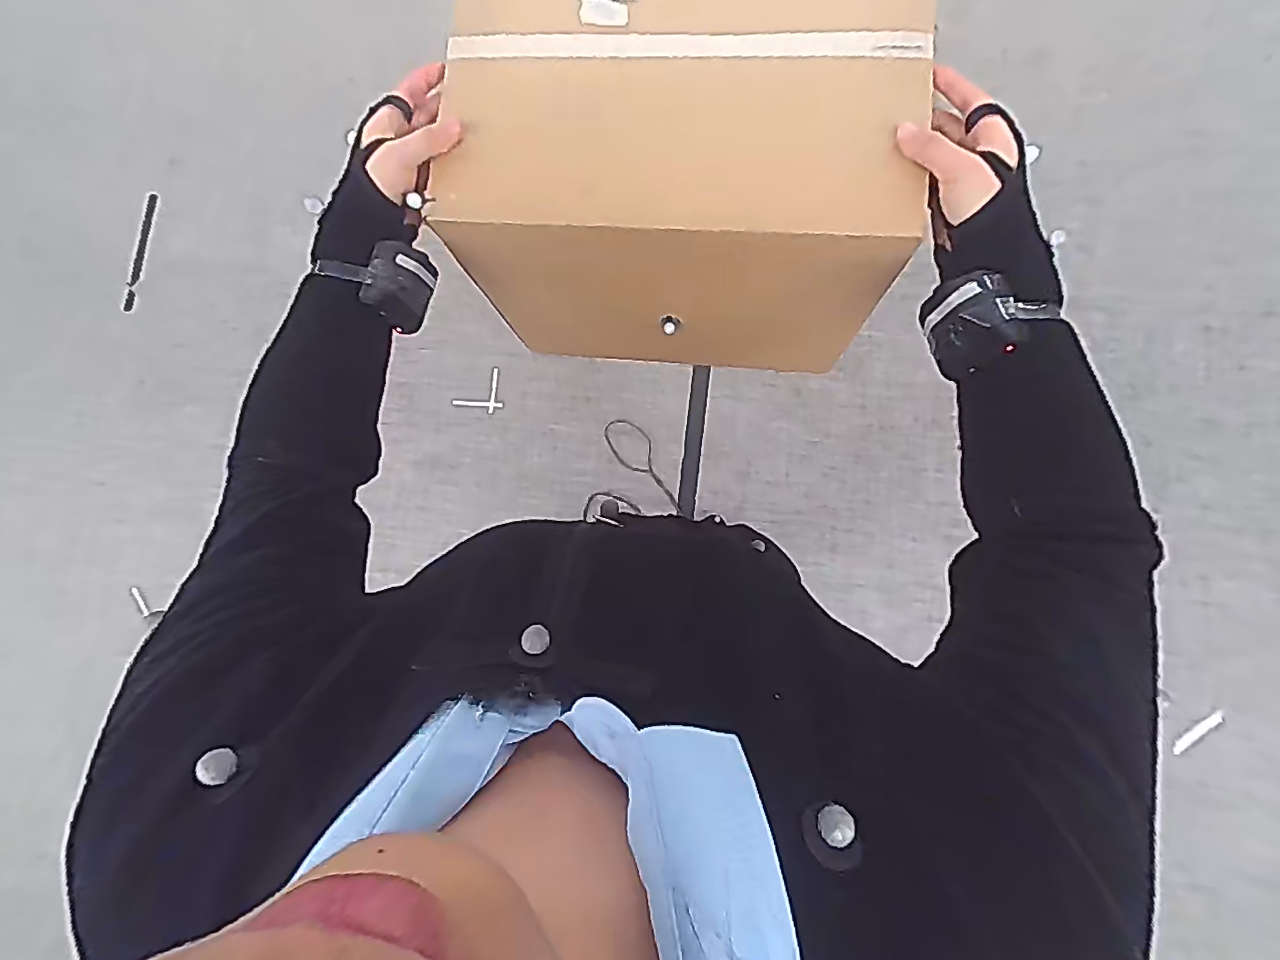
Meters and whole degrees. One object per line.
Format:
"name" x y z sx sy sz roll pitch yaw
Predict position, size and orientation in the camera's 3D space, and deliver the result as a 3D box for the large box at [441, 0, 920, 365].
"large box" 0.051 -0.331 0.613 0.408 0.320 0.320 4 81 7
